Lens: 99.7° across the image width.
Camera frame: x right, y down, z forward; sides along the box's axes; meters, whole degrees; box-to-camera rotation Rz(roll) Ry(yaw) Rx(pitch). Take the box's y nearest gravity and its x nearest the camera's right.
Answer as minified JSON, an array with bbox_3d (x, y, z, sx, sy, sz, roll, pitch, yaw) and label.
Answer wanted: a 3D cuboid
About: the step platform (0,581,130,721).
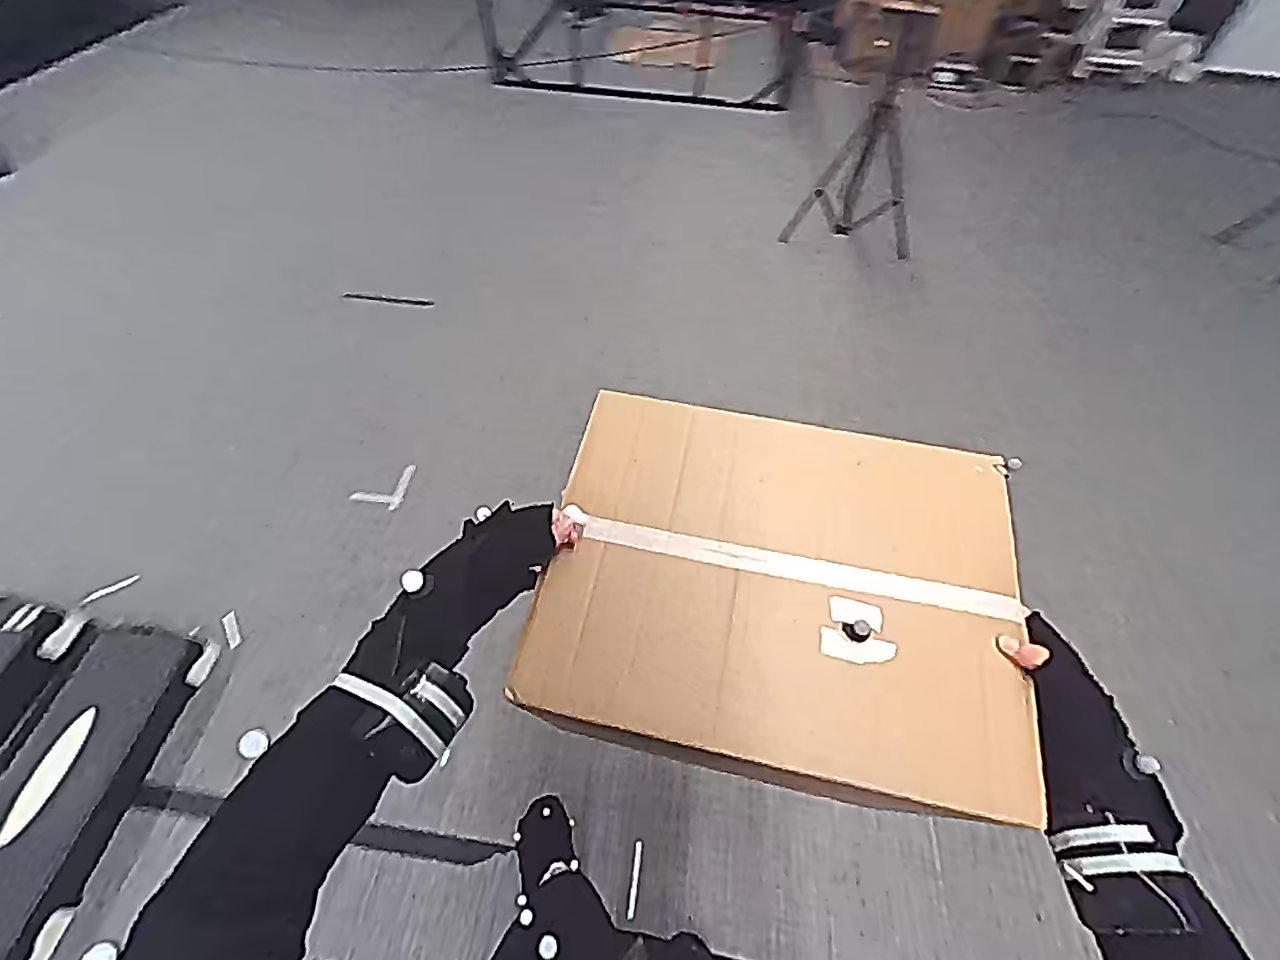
[{"bbox_3d":[-1.554,0.569,1.225,0.286,0.204,0.684,5,52,2],"label":"step platform"}]

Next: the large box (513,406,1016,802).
[{"bbox_3d":[0.114,0.152,0.622,0.408,0.320,0.320,10,62,6],"label":"large box"}]
